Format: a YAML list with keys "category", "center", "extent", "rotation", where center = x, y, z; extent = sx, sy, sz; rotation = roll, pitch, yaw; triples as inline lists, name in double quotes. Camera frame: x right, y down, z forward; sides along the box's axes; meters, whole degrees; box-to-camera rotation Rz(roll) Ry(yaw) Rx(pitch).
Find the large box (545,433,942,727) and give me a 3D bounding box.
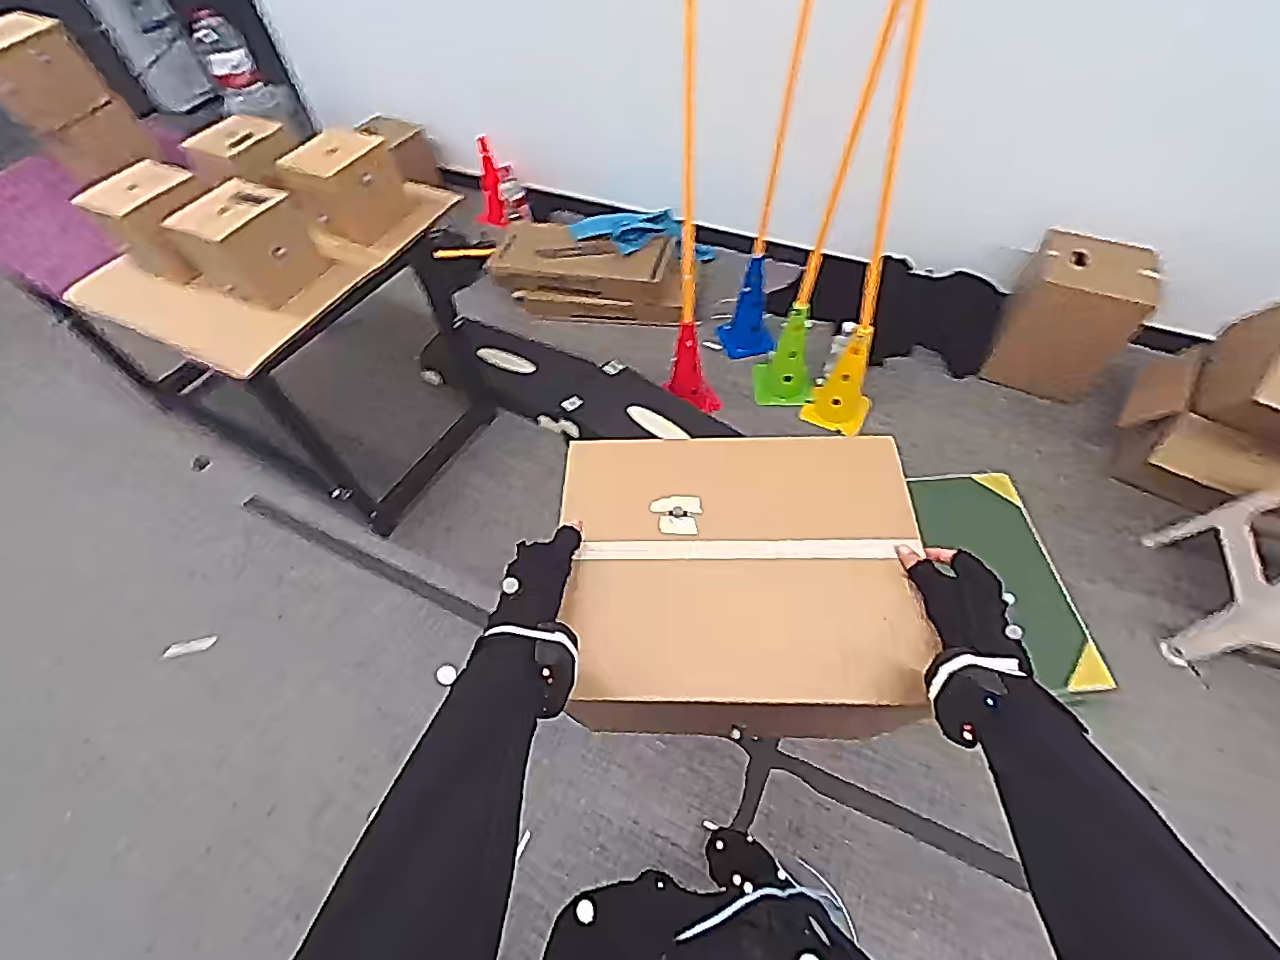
- category: "large box"
  center: [0.114, 0.156, 0.743]
  extent: [0.408, 0.320, 0.320]
  rotation: [-2, 58, 5]
